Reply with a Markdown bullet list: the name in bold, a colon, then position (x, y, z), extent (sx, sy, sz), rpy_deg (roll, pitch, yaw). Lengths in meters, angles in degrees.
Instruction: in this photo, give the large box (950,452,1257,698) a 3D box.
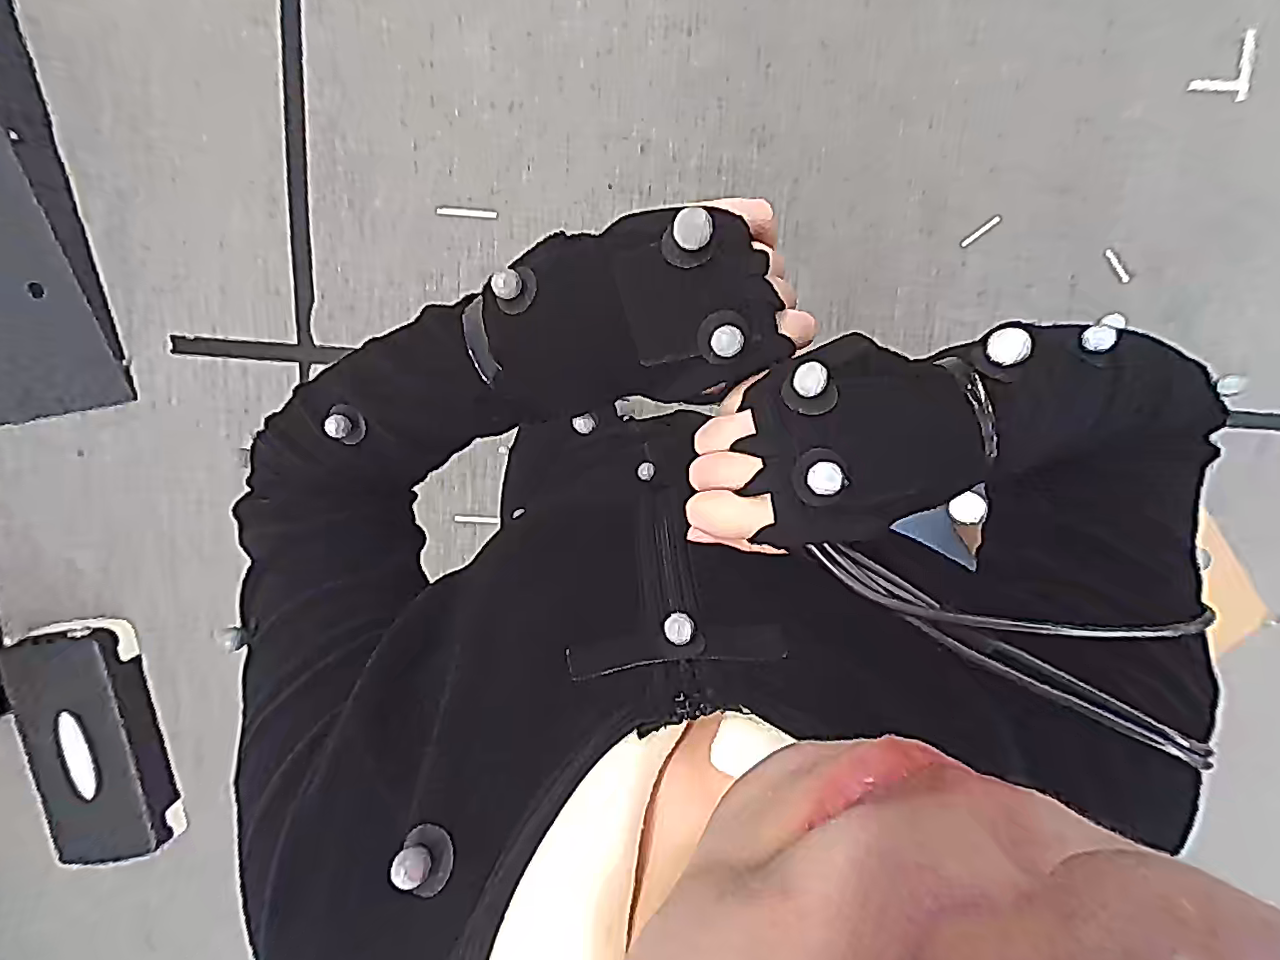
- **large box**: position (1.021, 0.190, 1.235), extent (0.320, 0.320, 0.408), rpy_deg (-37, 99, 3)
